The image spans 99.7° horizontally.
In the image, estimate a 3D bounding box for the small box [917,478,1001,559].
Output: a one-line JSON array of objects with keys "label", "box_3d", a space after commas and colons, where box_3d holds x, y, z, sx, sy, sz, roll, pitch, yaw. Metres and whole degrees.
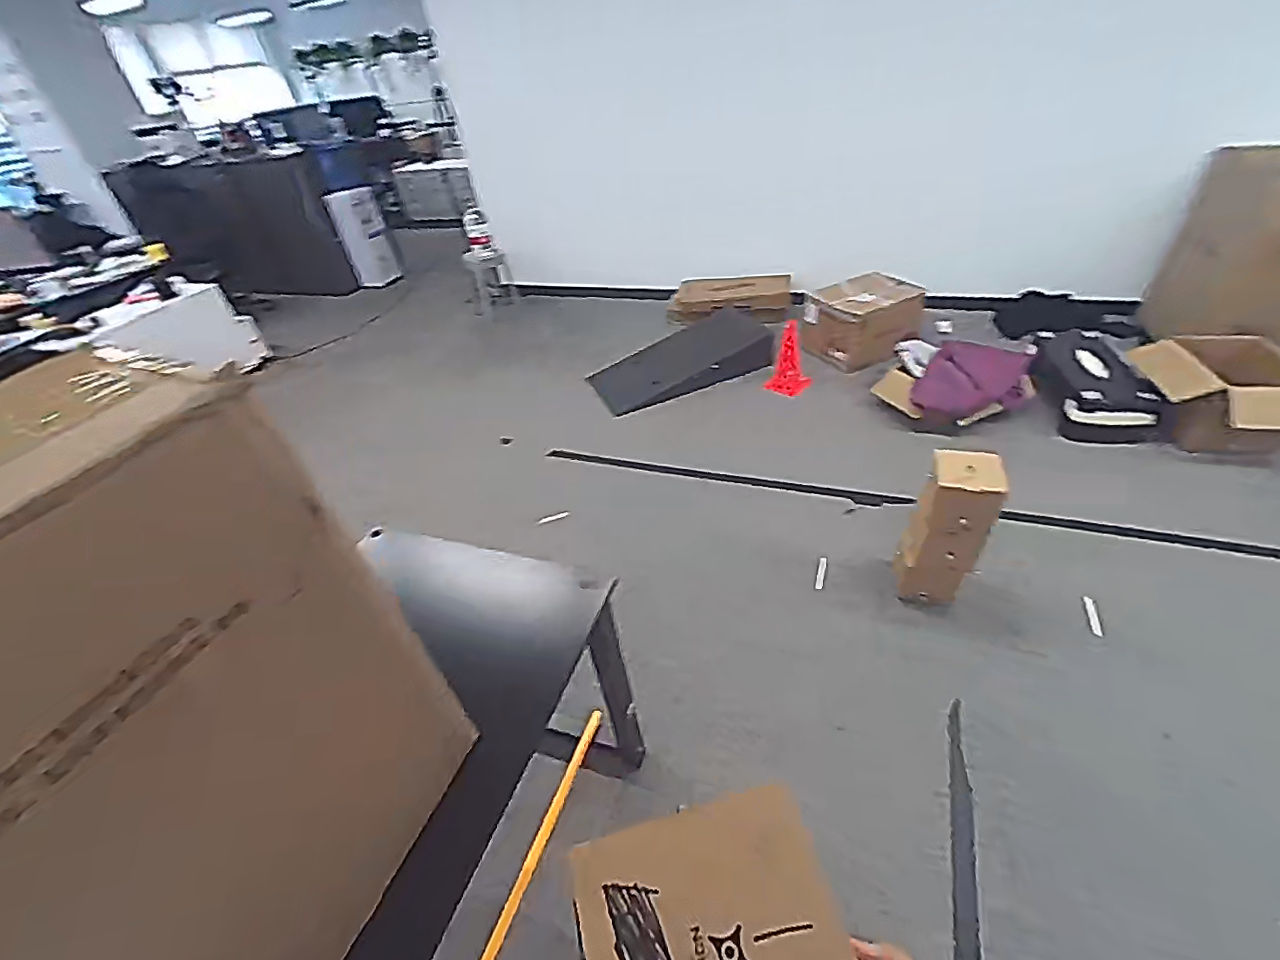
[{"label": "small box", "box_3d": [0.936, 0.115, 1.599, 0.168, 0.176, 0.179, 3, 41, 14]}]

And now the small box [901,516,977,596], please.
[{"label": "small box", "box_3d": [0.937, 0.238, 1.710, 0.168, 0.176, 0.179, 4, 42, 15]}]

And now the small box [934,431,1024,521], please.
[{"label": "small box", "box_3d": [0.927, -0.013, 1.495, 0.168, 0.176, 0.179, 6, 42, 18]}]
